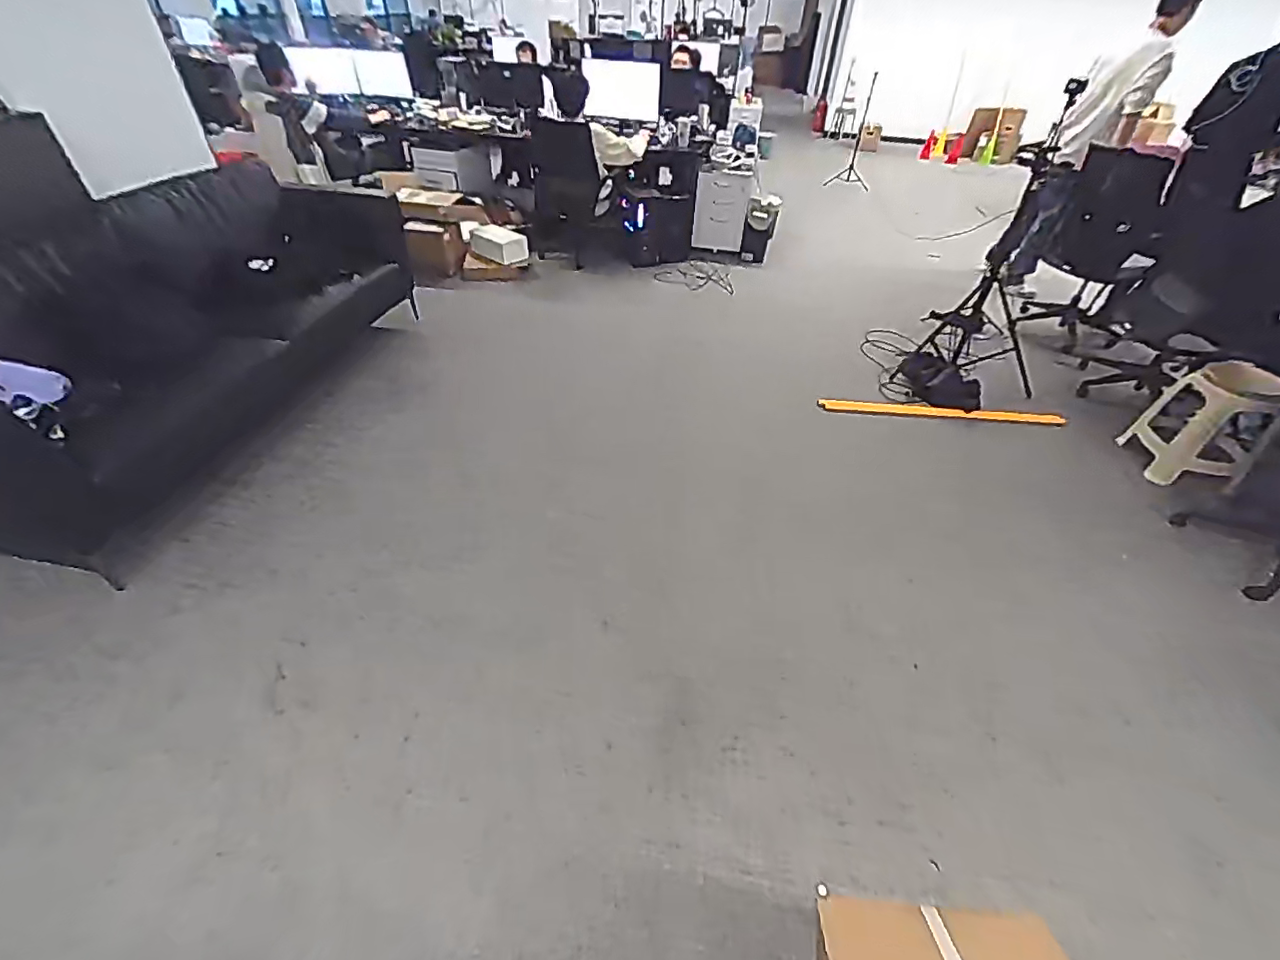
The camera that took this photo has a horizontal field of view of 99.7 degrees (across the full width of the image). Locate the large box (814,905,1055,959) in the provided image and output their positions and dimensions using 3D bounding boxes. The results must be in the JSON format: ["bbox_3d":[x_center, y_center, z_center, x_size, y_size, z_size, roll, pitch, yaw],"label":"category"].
[{"bbox_3d":[0.391,0.799,0.607,0.320,0.320,0.408,1,2,8],"label":"large box"}]
